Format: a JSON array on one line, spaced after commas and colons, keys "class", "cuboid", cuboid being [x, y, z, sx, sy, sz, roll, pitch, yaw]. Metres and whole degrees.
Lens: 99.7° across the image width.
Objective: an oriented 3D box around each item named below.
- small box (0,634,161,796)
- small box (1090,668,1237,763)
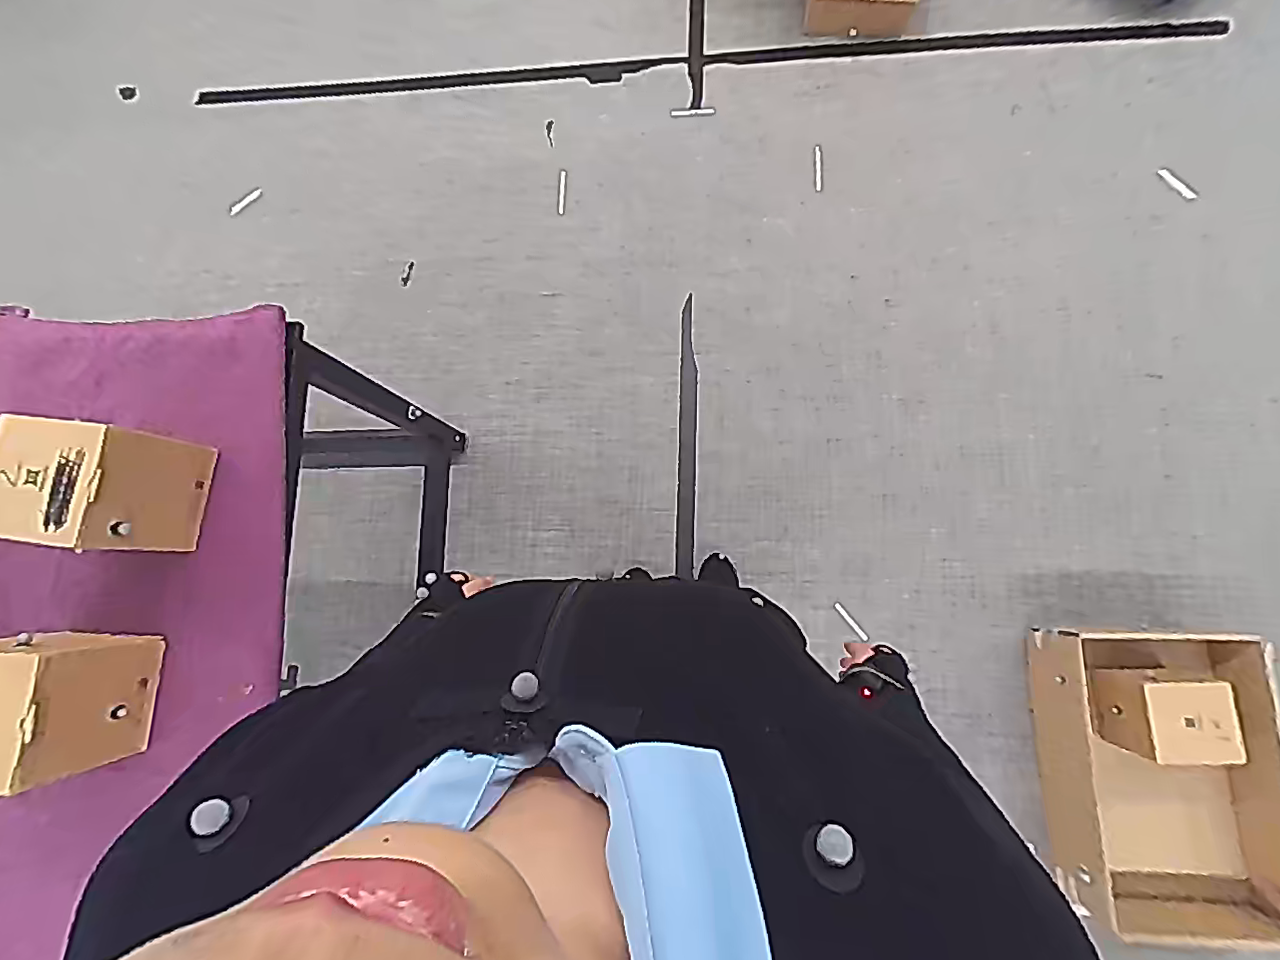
[{"class": "small box", "cuboid": [-0.825, 0.307, 0.740, 0.179, 0.176, 0.168, 2, 81, 5]}, {"class": "small box", "cuboid": [1.176, 0.530, 1.234, 0.179, 0.176, 0.168, -2, 81, 4]}]
